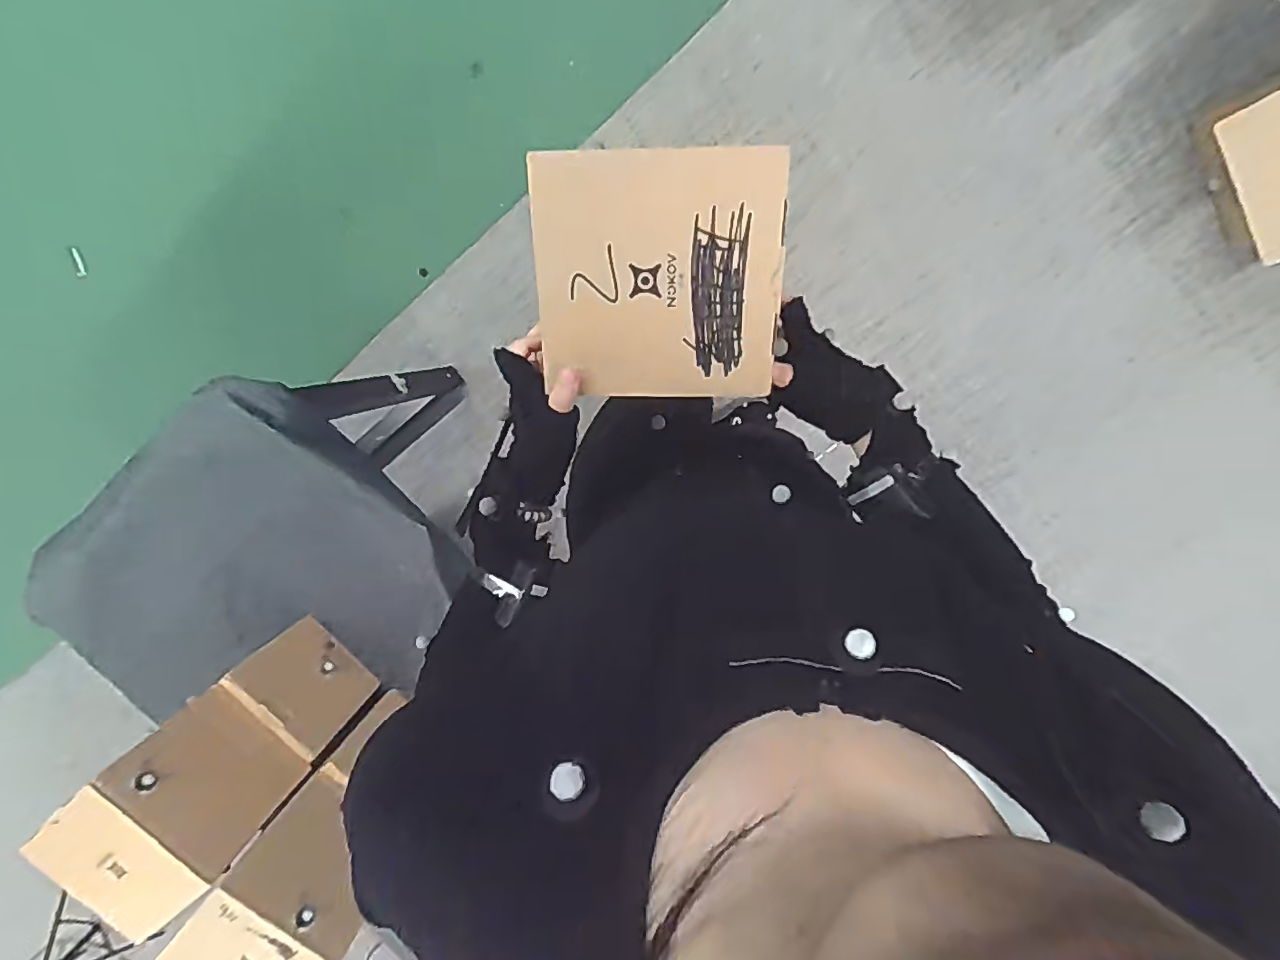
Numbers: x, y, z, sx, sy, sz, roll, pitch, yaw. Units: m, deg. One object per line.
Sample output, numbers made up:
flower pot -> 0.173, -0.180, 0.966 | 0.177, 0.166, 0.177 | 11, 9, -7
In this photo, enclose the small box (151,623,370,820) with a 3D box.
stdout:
small box -> -0.555, 0.354, 0.816 | 0.179, 0.176, 0.168 | -39, 99, 13
